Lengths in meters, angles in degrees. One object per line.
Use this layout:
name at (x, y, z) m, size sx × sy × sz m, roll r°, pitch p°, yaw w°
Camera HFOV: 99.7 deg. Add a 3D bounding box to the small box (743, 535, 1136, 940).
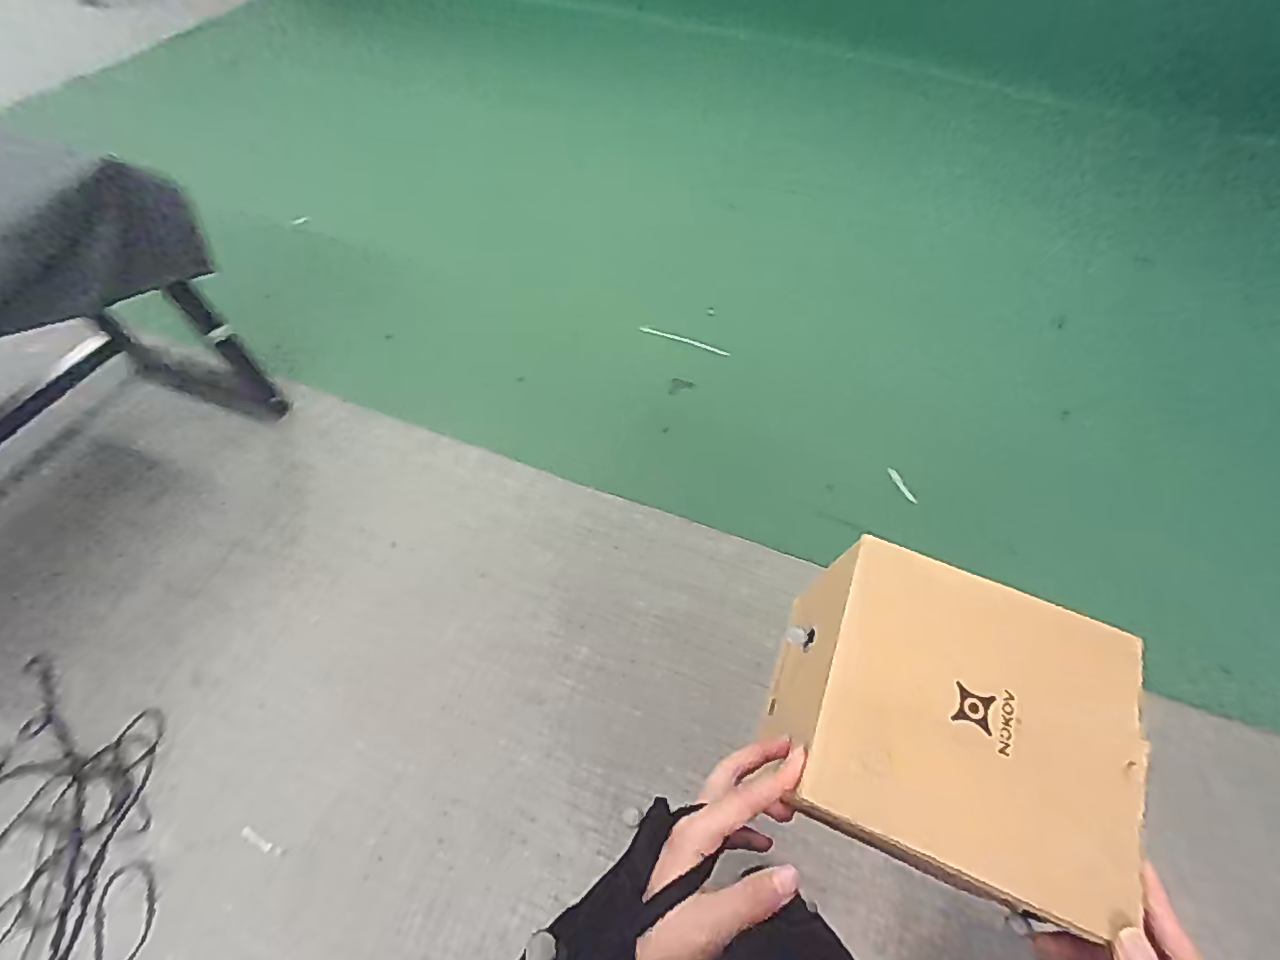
small box at (0.187, 0.167, 0.380) m, size 0.179 × 0.176 × 0.168 m, roll 21°, pitch 64°, yaw 8°
